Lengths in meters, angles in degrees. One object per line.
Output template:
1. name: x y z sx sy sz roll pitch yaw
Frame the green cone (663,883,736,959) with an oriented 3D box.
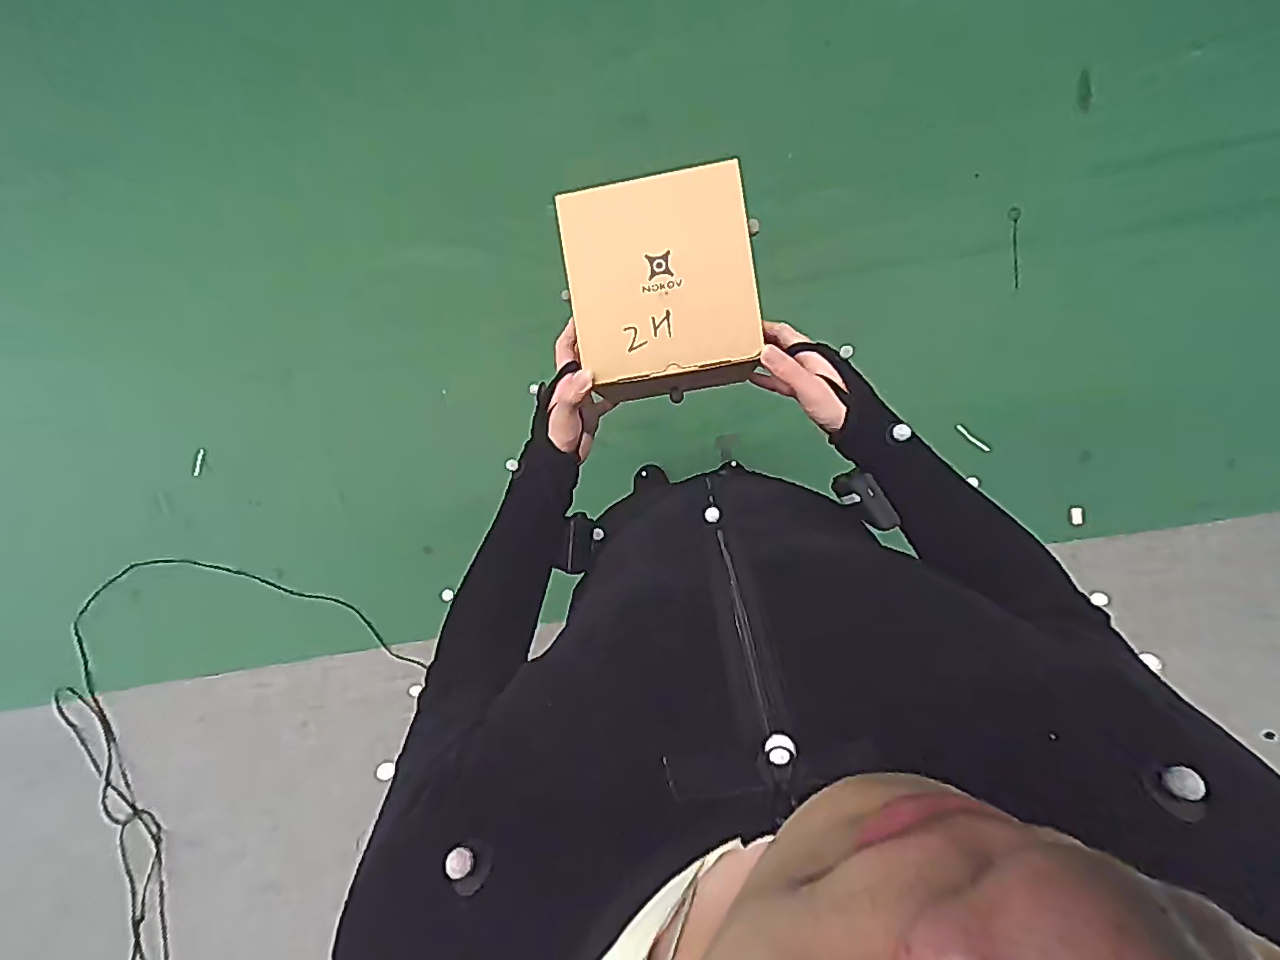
1. green cone: 0.167 1.322 1.459 0.202 0.368 0.200 -9 90 4
